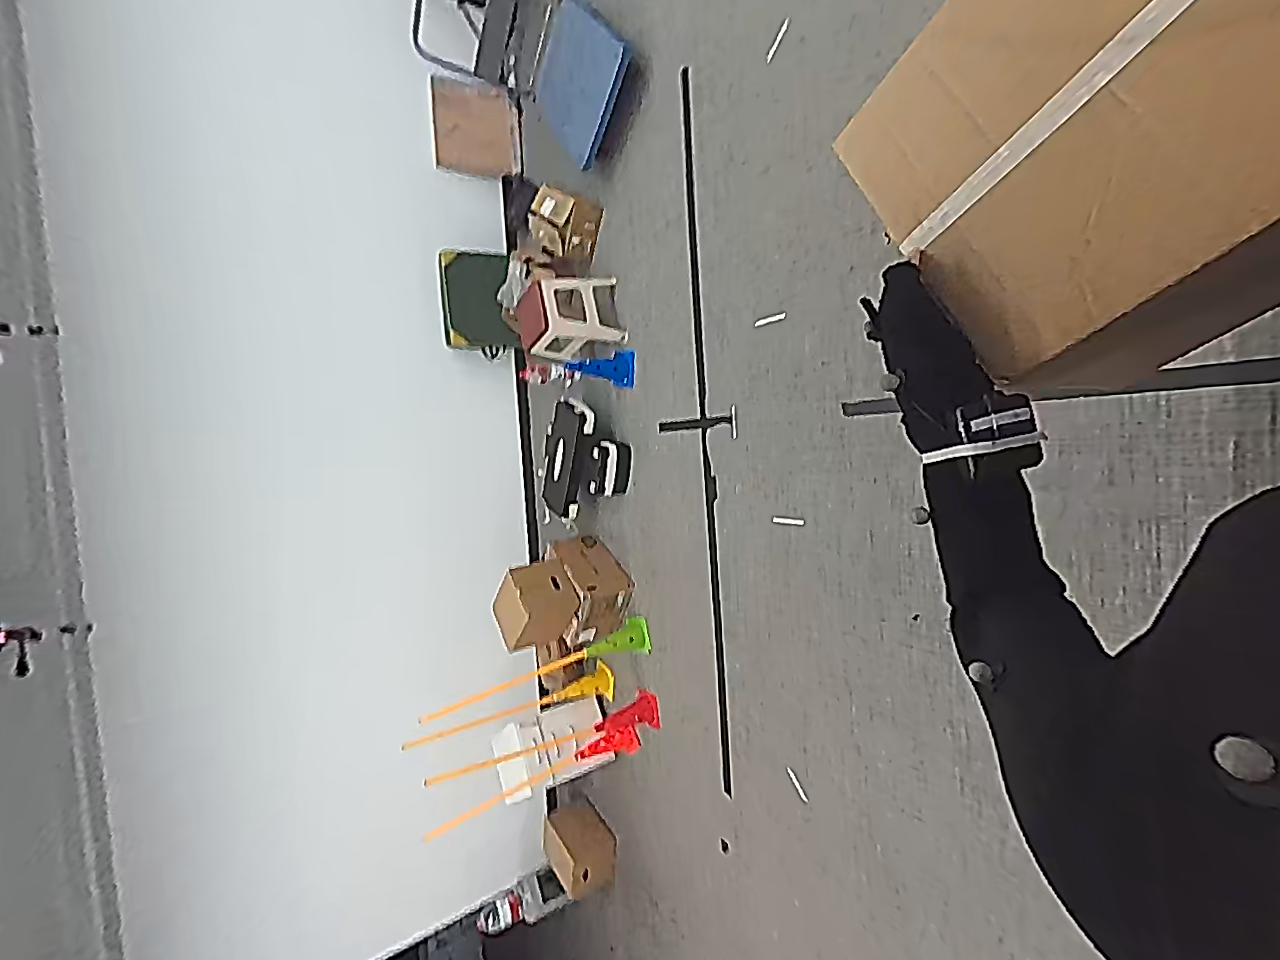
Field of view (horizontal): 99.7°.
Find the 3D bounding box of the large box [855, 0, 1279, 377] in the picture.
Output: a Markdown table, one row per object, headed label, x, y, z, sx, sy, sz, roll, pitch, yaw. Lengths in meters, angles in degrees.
| label | x | y | z | sx | sy | sz | roll | pitch | yaw |
| --- | --- | --- | --- | --- | --- | --- | --- | --- | --- |
| large box | 0.481 | -0.330 | 0.445 | 0.408 | 0.320 | 0.320 | -44 | 60 | 49 |
